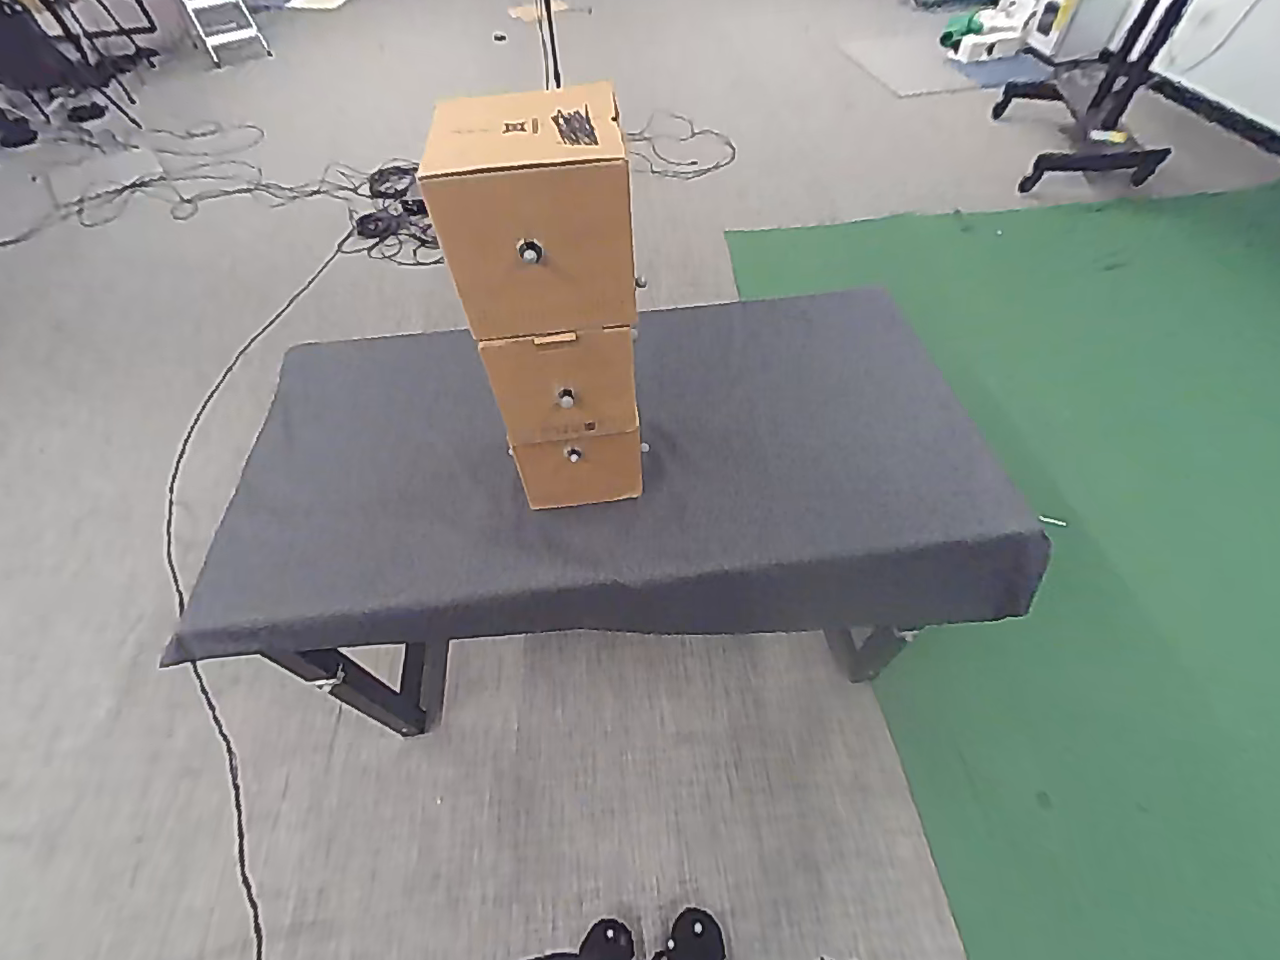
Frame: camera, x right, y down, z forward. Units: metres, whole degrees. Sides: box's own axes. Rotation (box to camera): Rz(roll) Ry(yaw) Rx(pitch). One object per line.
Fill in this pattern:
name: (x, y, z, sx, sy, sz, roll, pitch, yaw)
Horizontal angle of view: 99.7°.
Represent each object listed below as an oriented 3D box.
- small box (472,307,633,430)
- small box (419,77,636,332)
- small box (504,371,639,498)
small box: (-0.102, -0.177, 0.680, 0.168, 0.176, 0.179, -7, 55, -3)
small box: (-0.101, -0.271, 0.544, 0.179, 0.176, 0.168, -8, 54, -5)
small box: (-0.097, -0.086, 0.815, 0.179, 0.176, 0.168, -6, 55, -4)
